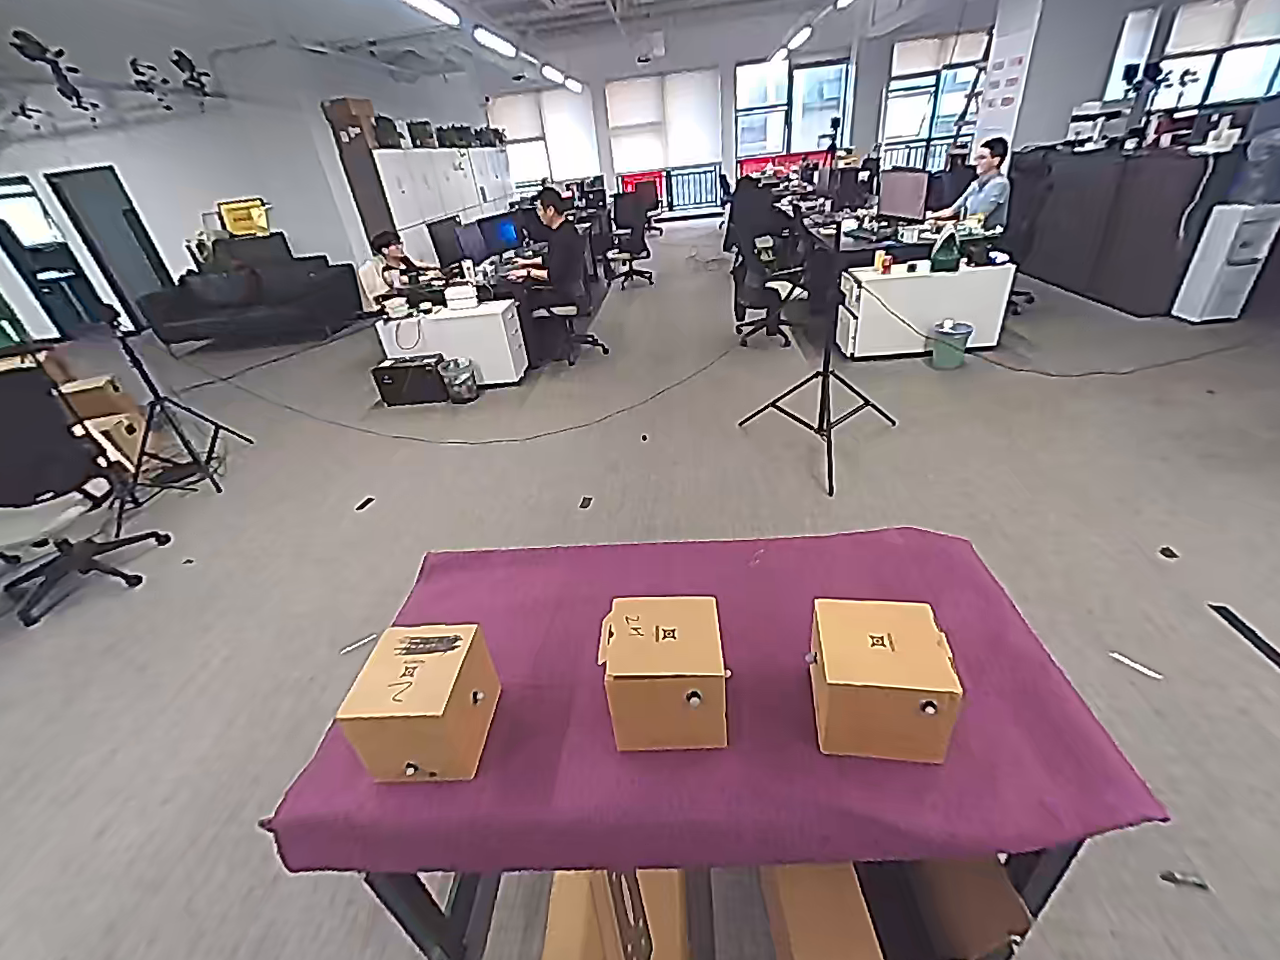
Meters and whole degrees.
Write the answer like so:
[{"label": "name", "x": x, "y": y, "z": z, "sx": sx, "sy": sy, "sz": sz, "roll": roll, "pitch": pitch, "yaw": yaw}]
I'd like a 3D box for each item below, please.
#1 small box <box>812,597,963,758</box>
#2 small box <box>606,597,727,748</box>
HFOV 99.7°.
[{"label": "small box", "x": 0.363, "y": 0.301, "z": 0.832, "sx": 0.179, "sy": 0.176, "sz": 0.168, "roll": 0, "pitch": 32, "yaw": 11}, {"label": "small box", "x": 0.047, "y": 0.311, "z": 0.878, "sx": 0.179, "sy": 0.176, "sz": 0.168, "roll": -4, "pitch": 29, "yaw": 5}]
